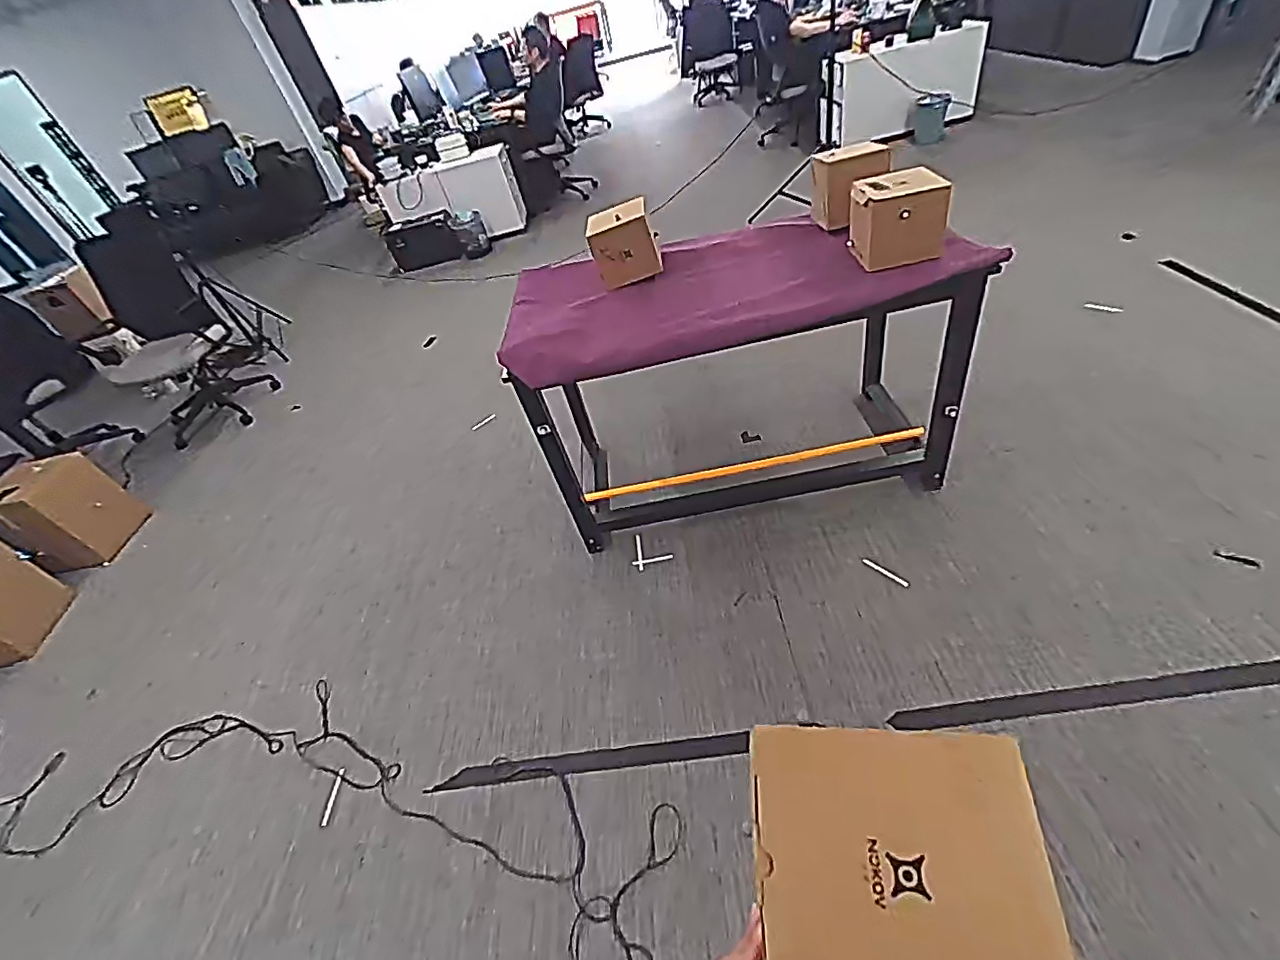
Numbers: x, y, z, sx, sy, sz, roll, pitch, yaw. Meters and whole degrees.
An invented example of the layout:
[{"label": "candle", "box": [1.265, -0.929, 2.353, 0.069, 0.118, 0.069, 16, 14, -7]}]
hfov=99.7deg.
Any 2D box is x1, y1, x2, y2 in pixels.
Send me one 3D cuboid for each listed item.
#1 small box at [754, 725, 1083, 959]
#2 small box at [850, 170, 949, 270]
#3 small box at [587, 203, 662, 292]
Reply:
[{"label": "small box", "box": [0.178, 0.280, 0.402, 0.179, 0.176, 0.168, -4, 60, 11]}, {"label": "small box", "box": [0.629, -0.638, 1.334, 0.179, 0.176, 0.168, -10, 41, 8]}, {"label": "small box", "box": [-0.043, -0.685, 1.583, 0.179, 0.168, 0.176, -15, 41, 13]}]
